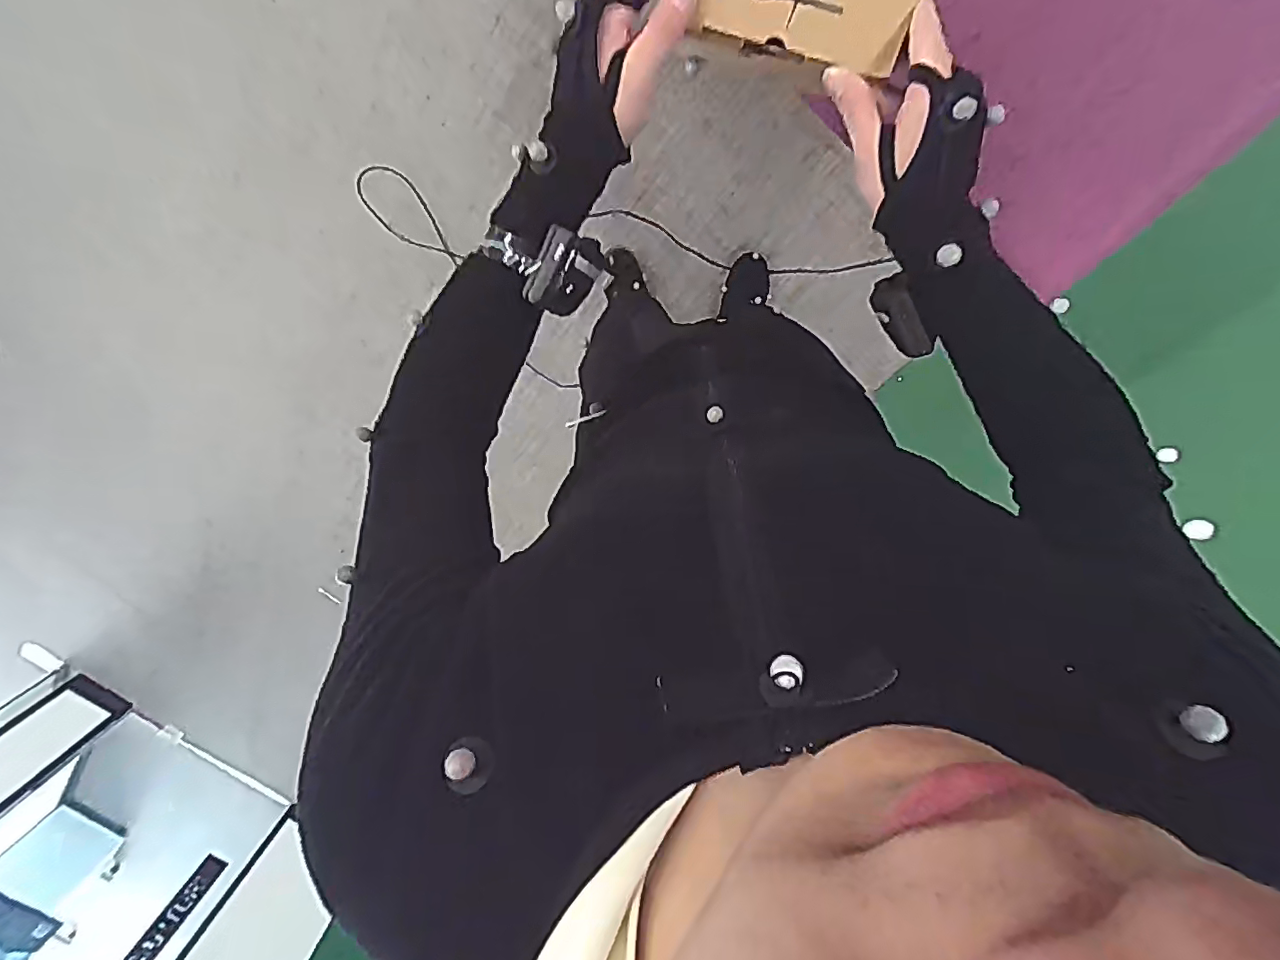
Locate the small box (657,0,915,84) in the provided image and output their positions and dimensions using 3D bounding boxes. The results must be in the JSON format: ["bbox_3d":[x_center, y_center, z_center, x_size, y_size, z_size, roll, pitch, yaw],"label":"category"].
[{"bbox_3d":[0.114,-0.407,0.384,0.168,0.176,0.179,12,122,-4],"label":"small box"}]
